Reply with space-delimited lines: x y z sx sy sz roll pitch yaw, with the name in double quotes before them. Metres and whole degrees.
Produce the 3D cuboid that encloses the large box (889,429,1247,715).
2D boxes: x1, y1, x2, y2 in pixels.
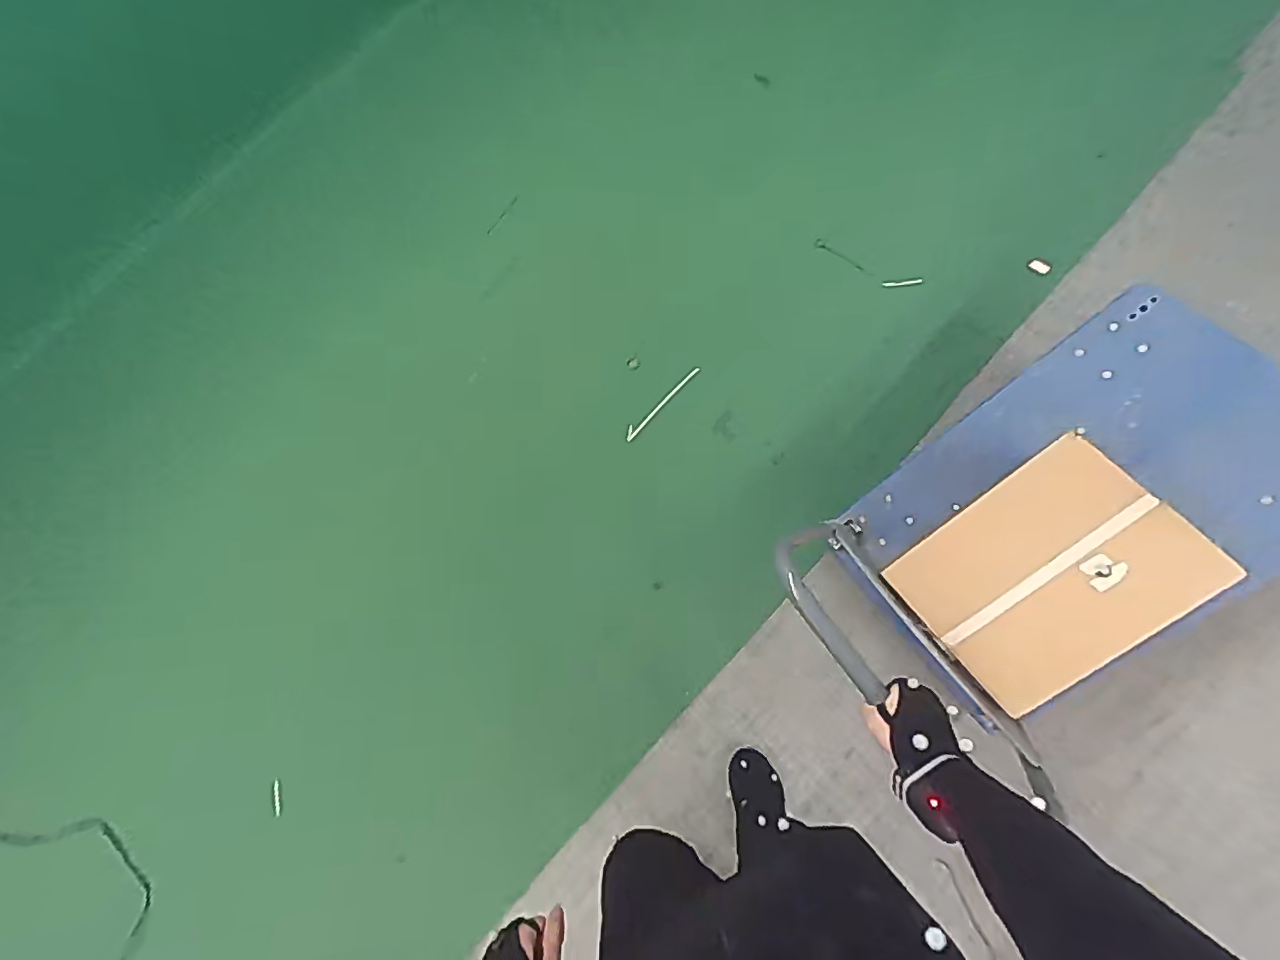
"large box" 0.752 0.177 1.044 0.408 0.320 0.320 -42 67 13
